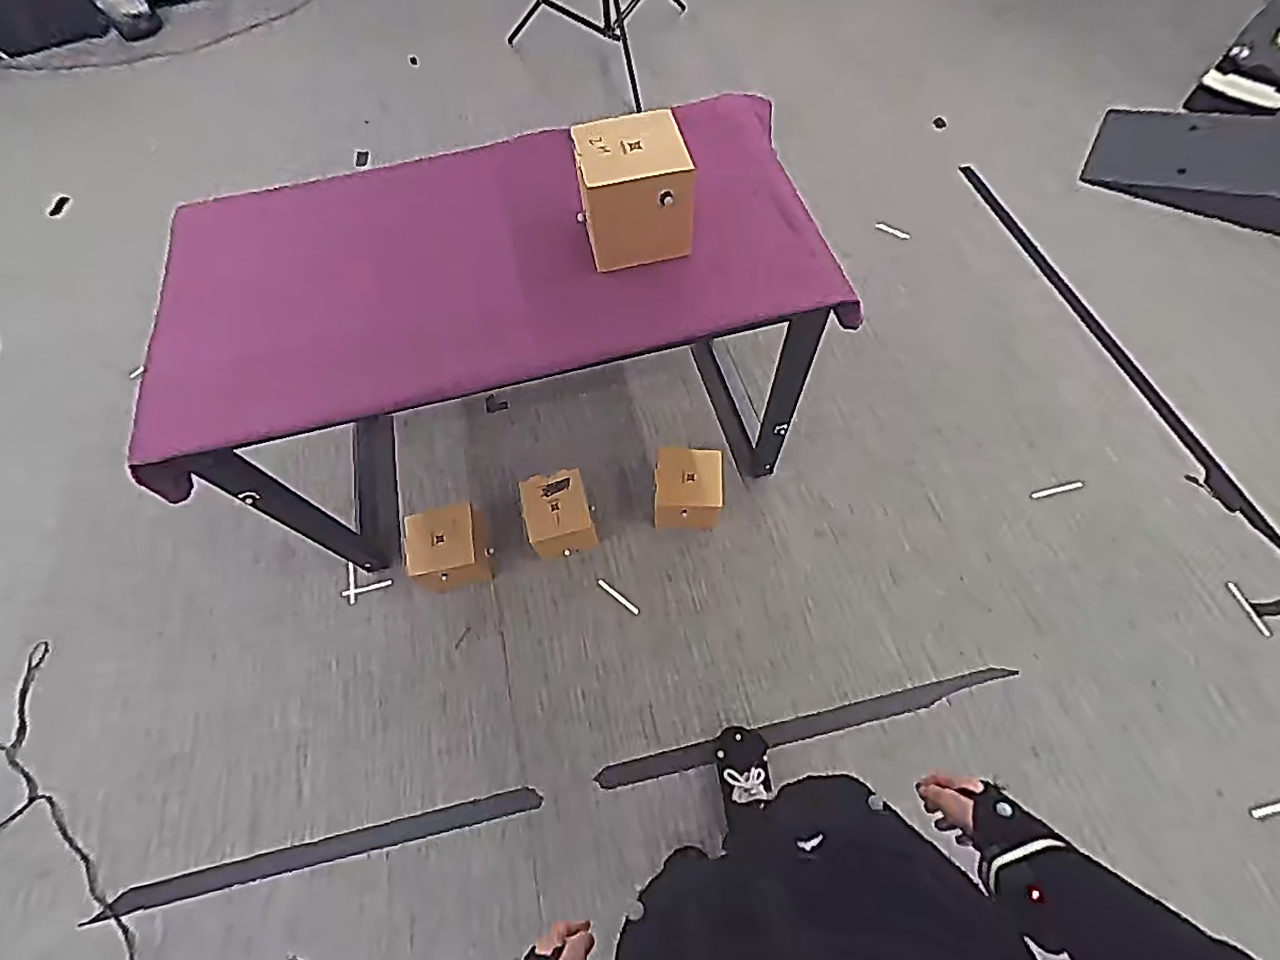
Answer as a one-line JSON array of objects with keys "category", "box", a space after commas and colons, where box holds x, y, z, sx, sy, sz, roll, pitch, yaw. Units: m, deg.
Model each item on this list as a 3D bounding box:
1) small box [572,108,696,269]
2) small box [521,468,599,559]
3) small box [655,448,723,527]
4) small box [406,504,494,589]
[{"category": "small box", "box": [-0.009, -0.497, 0.937, 0.179, 0.176, 0.168, -12, 64, -2]}, {"category": "small box", "box": [-0.215, 0.094, 1.476, 0.168, 0.176, 0.179, -15, 66, -3]}, {"category": "small box", "box": [0.135, 0.024, 1.490, 0.179, 0.176, 0.168, 1, 65, 5]}, {"category": "small box", "box": [-0.506, 0.183, 1.453, 0.179, 0.176, 0.168, -11, 65, -3]}]
